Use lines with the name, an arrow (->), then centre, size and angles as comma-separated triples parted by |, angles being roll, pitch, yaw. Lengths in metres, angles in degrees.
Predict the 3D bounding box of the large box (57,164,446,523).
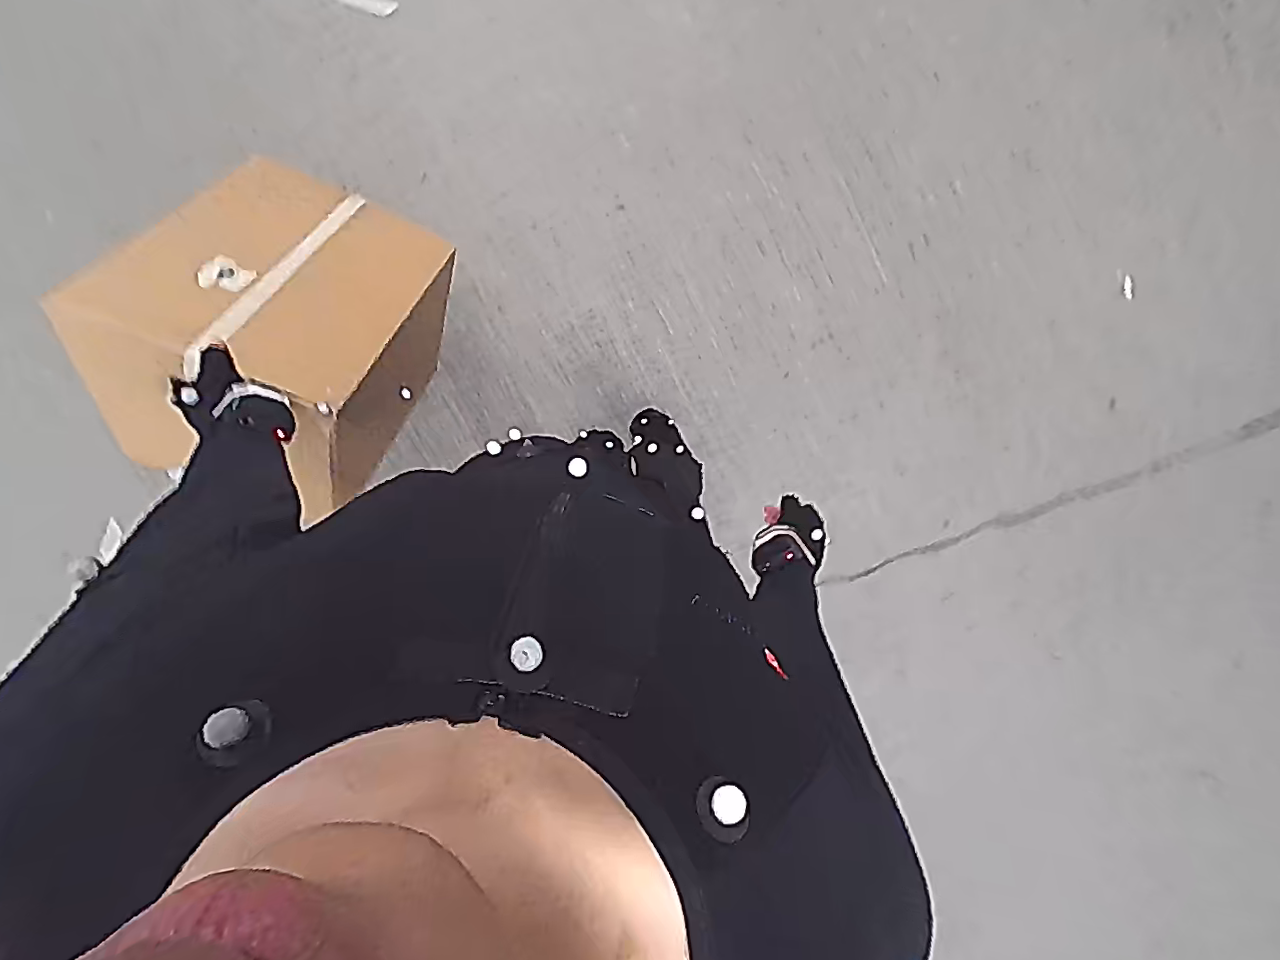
large box -> -0.549, -0.208, 0.870 | 0.320, 0.320, 0.408 | 21, 52, -13
